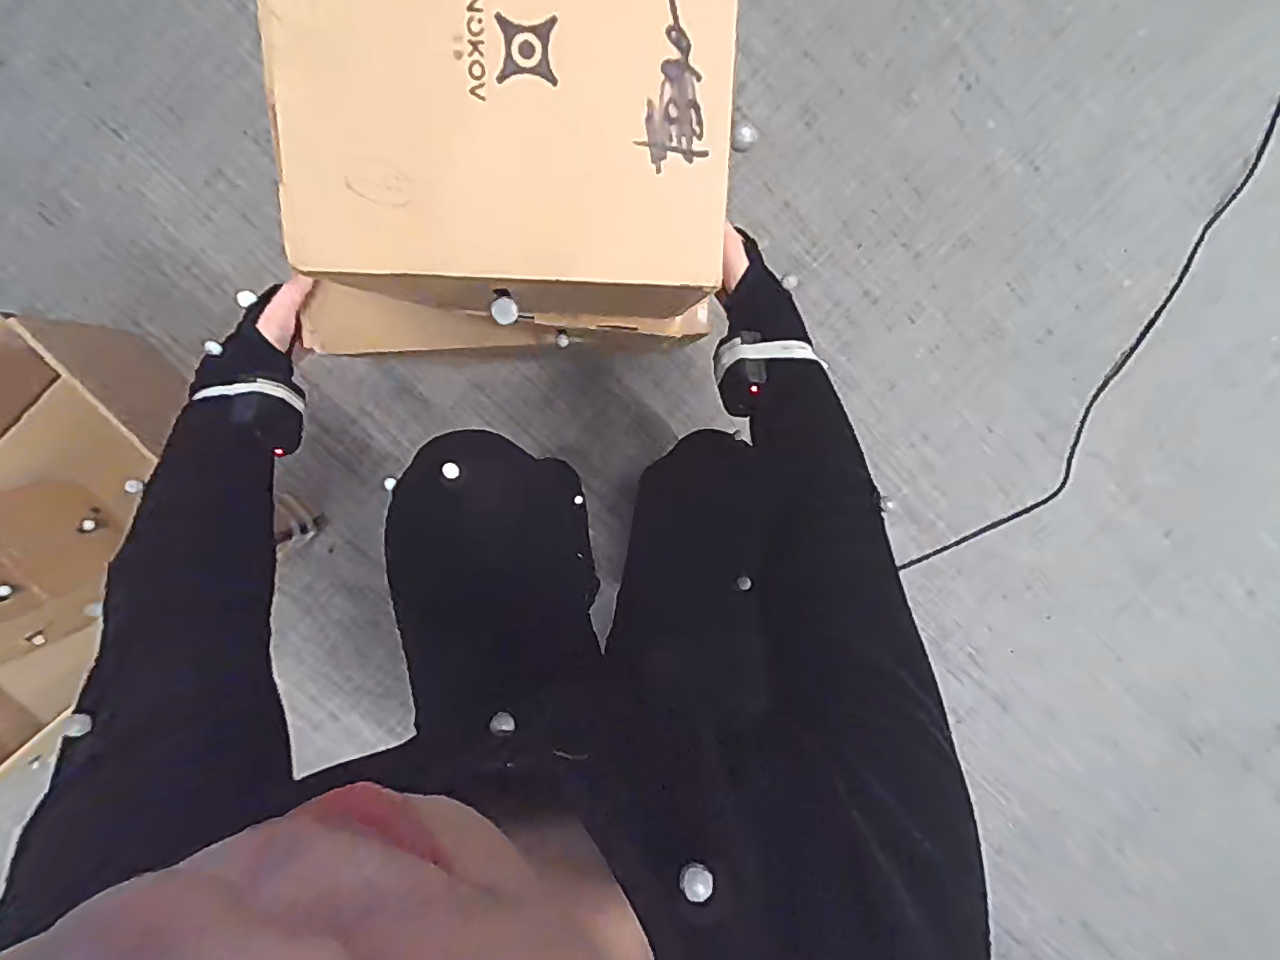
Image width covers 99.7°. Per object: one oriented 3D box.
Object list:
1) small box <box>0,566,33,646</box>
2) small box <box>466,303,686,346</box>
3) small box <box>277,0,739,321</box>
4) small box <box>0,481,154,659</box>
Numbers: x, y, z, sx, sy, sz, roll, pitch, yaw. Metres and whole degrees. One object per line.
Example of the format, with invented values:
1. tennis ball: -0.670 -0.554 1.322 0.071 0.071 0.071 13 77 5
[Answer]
1. small box: -0.837 0.155 0.578 0.179 0.176 0.168 -39 99 6
2. small box: -0.044 -0.210 0.444 0.168 0.176 0.179 6 103 -4
3. small box: -0.051 -0.176 0.283 0.179 0.176 0.168 2 103 -2
4. small box: -0.842 0.124 0.740 0.179 0.176 0.168 -40 99 5
